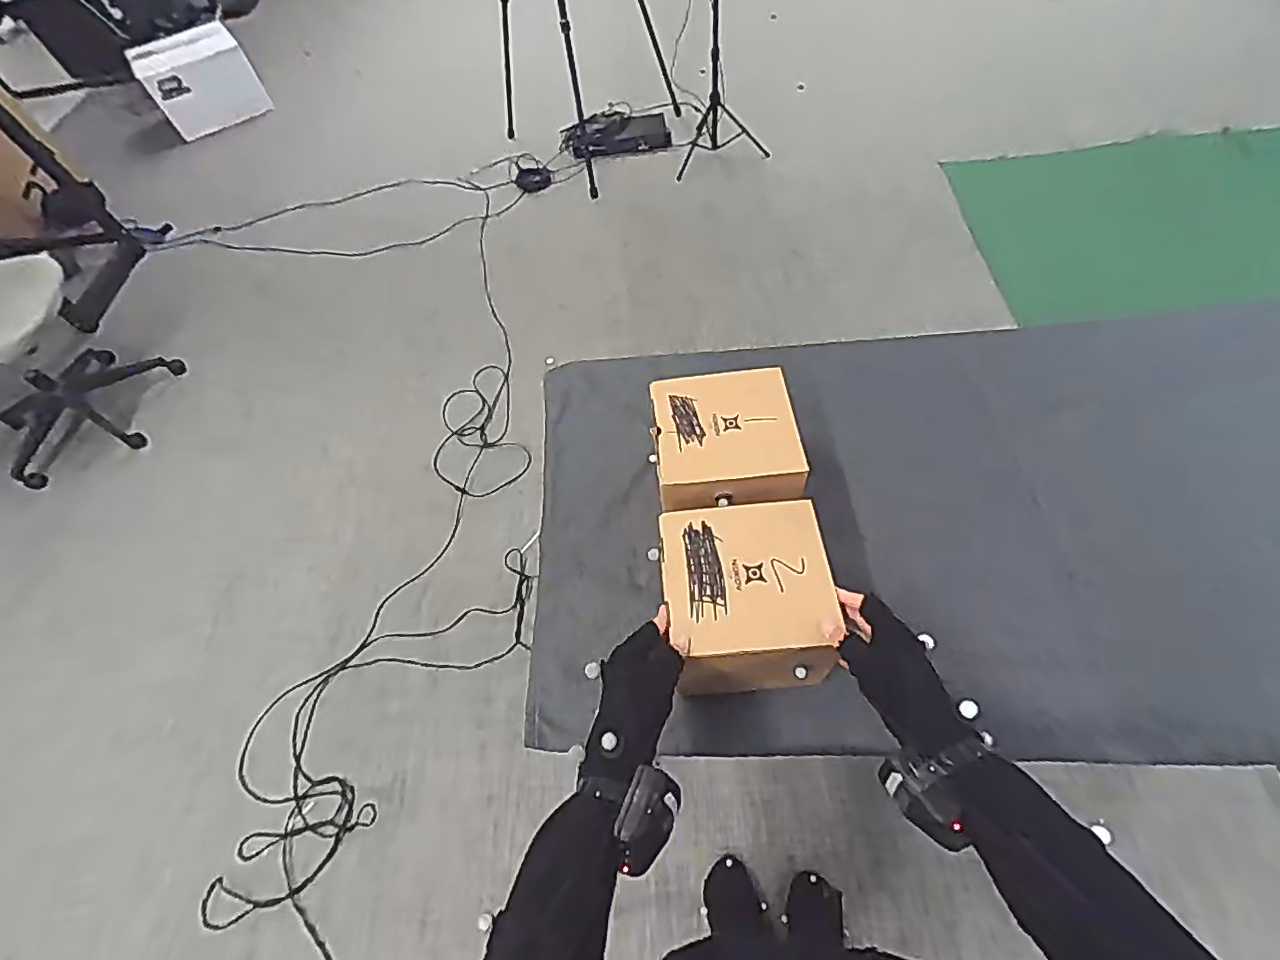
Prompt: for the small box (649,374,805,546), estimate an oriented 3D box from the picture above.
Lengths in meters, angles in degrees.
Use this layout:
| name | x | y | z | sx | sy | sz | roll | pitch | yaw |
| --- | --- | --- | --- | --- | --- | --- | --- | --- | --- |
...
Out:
| name | x | y | z | sx | sy | sz | roll | pitch | yaw |
| --- | --- | --- | --- | --- | --- | --- | --- | --- | --- |
| small box | 0.112 | -0.019 | 0.741 | 0.179 | 0.176 | 0.168 | -6 | 58 | 3 |
